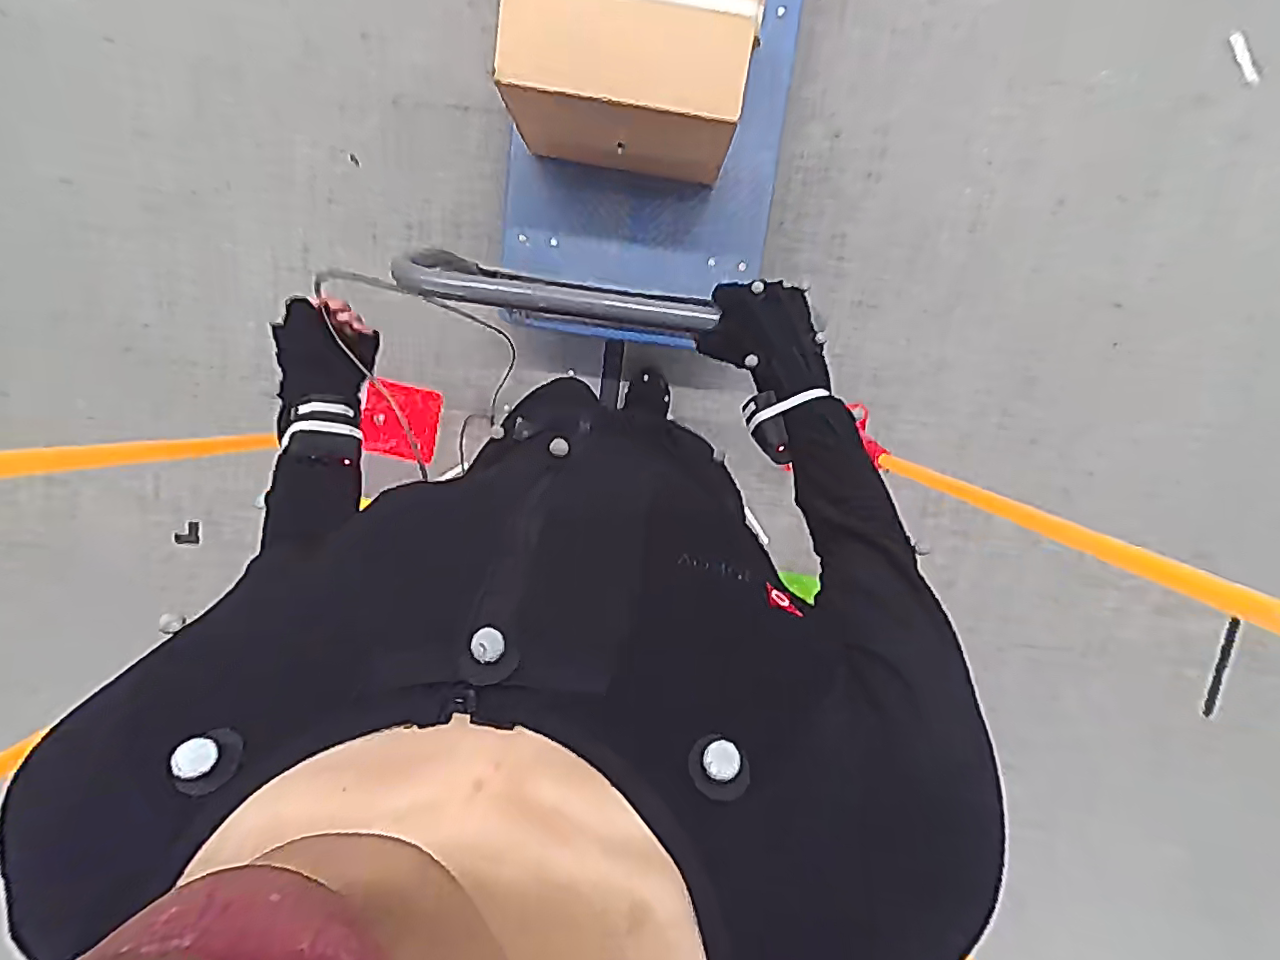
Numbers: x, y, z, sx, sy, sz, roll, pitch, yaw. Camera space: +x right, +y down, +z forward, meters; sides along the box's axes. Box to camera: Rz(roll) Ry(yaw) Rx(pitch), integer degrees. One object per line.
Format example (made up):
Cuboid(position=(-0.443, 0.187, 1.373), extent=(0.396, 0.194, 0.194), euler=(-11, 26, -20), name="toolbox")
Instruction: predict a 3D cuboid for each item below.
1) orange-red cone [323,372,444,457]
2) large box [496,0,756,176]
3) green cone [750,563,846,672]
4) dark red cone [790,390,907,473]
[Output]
Cuboid(position=(-0.632, -0.143, 1.273), extent=(0.198, 0.360, 0.199), euler=(14, 99, -3), name="orange-red cone")
Cuboid(position=(-0.012, -0.794, 0.991), extent=(0.408, 0.320, 0.320), euler=(9, 102, -1), name="large box")
Cuboid(position=(0.425, 0.372, 1.356), extent=(0.202, 0.368, 0.200), euler=(10, 101, -2), name="green cone")
Cuboid(position=(0.501, -0.095, 1.247), extent=(0.201, 0.394, 0.202), euler=(6, 101, -2), name="dark red cone")
